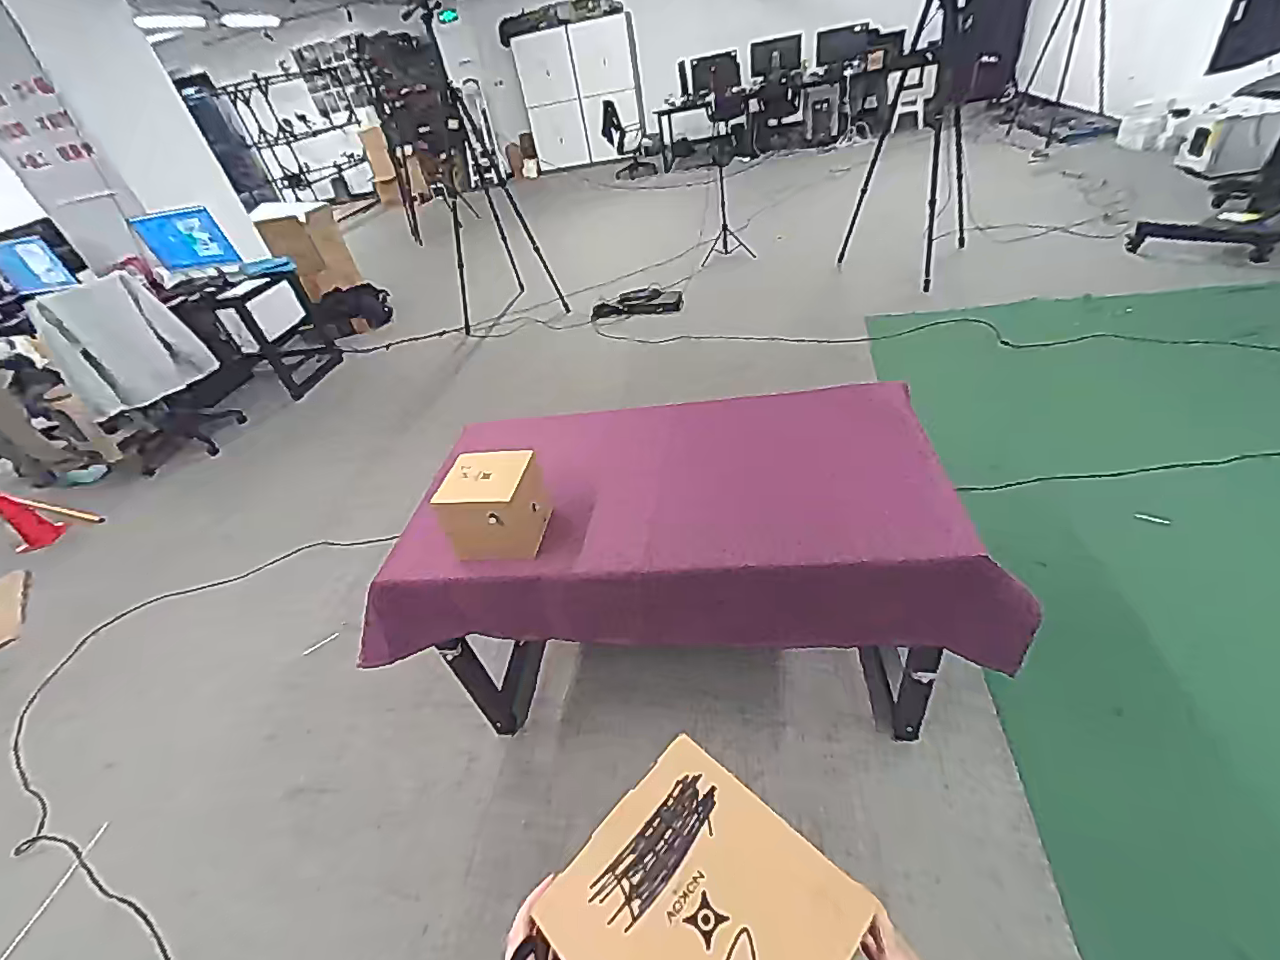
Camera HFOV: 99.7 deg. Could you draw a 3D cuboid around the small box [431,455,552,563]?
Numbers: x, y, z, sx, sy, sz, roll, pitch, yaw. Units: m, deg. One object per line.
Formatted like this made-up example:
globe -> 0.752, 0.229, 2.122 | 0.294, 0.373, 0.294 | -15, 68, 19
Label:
small box -> -0.305, 0.064, 1.161 | 0.179, 0.176, 0.168 | -3, 39, 13
